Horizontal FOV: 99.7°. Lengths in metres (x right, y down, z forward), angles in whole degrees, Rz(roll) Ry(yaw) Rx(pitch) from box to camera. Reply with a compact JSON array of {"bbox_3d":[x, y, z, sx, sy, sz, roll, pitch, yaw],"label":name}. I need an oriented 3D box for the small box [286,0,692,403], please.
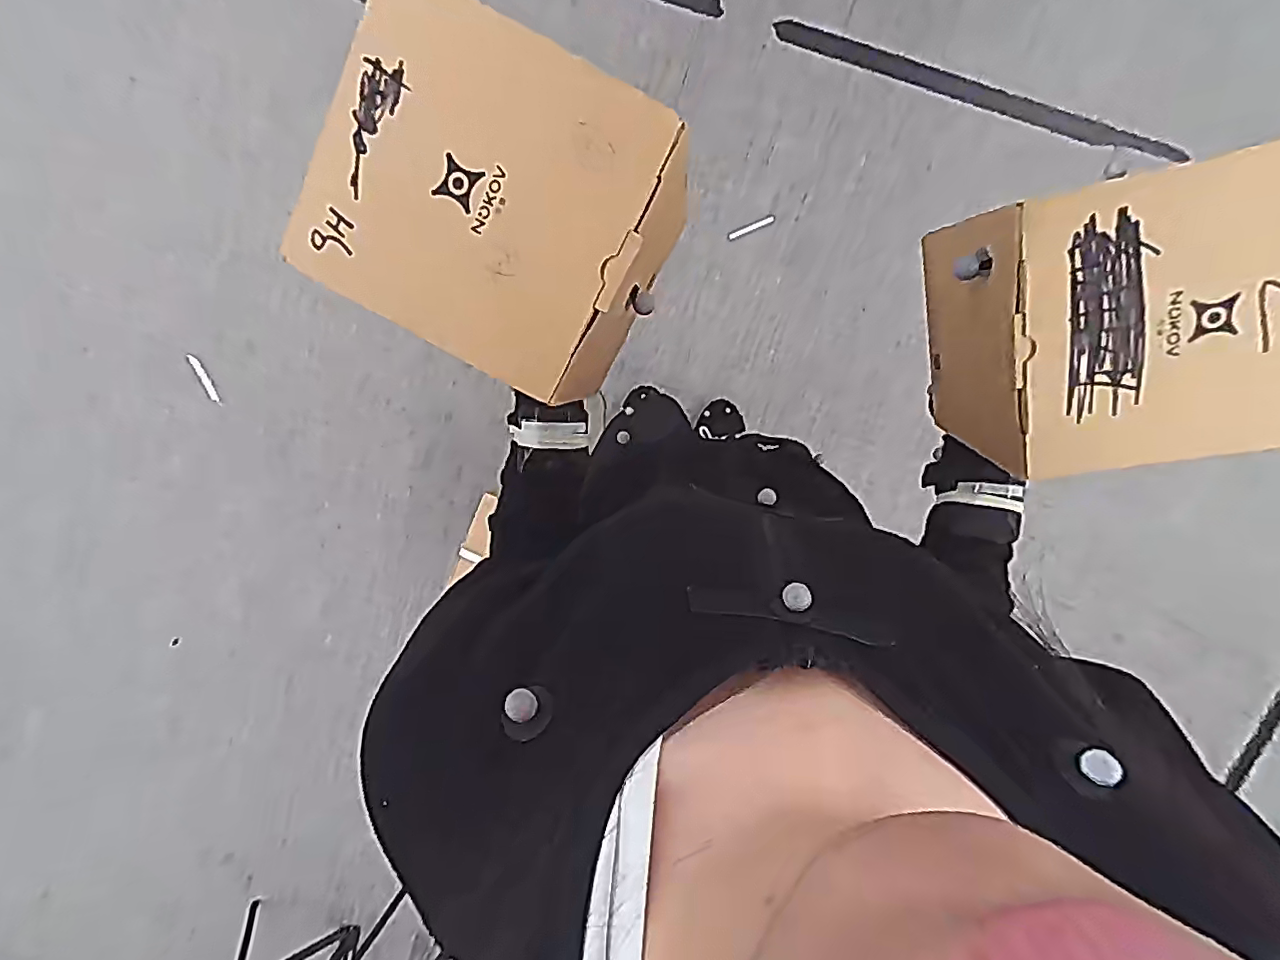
[{"bbox_3d":[-0.080,-0.170,0.367,0.179,0.176,0.168,28,102,-2],"label":"small box"}]
